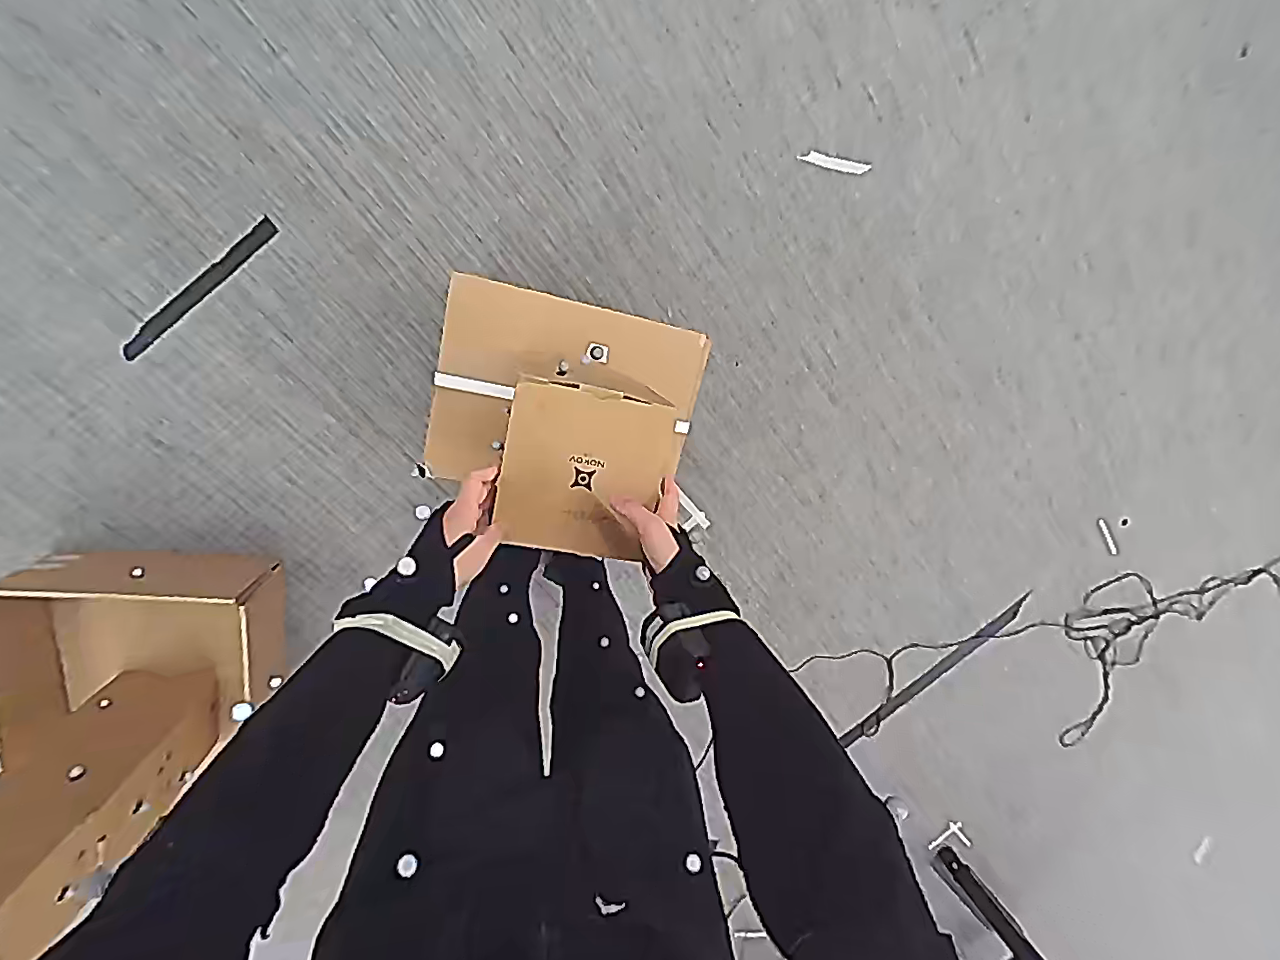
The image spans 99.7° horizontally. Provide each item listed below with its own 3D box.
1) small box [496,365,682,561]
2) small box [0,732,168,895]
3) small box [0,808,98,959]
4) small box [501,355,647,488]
[{"bbox_3d":[-0.067,-0.028,0.629,0.168,0.176,0.179,10,105,-13],"label":"small box"},{"bbox_3d":[-0.924,0.541,0.889,0.179,0.176,0.168,9,102,-14],"label":"small box"},{"bbox_3d":[-0.899,0.575,0.731,0.179,0.176,0.168,9,103,-13],"label":"small box"},{"bbox_3d":[-0.100,-0.075,0.782,0.168,0.176,0.179,10,103,-15],"label":"small box"}]
